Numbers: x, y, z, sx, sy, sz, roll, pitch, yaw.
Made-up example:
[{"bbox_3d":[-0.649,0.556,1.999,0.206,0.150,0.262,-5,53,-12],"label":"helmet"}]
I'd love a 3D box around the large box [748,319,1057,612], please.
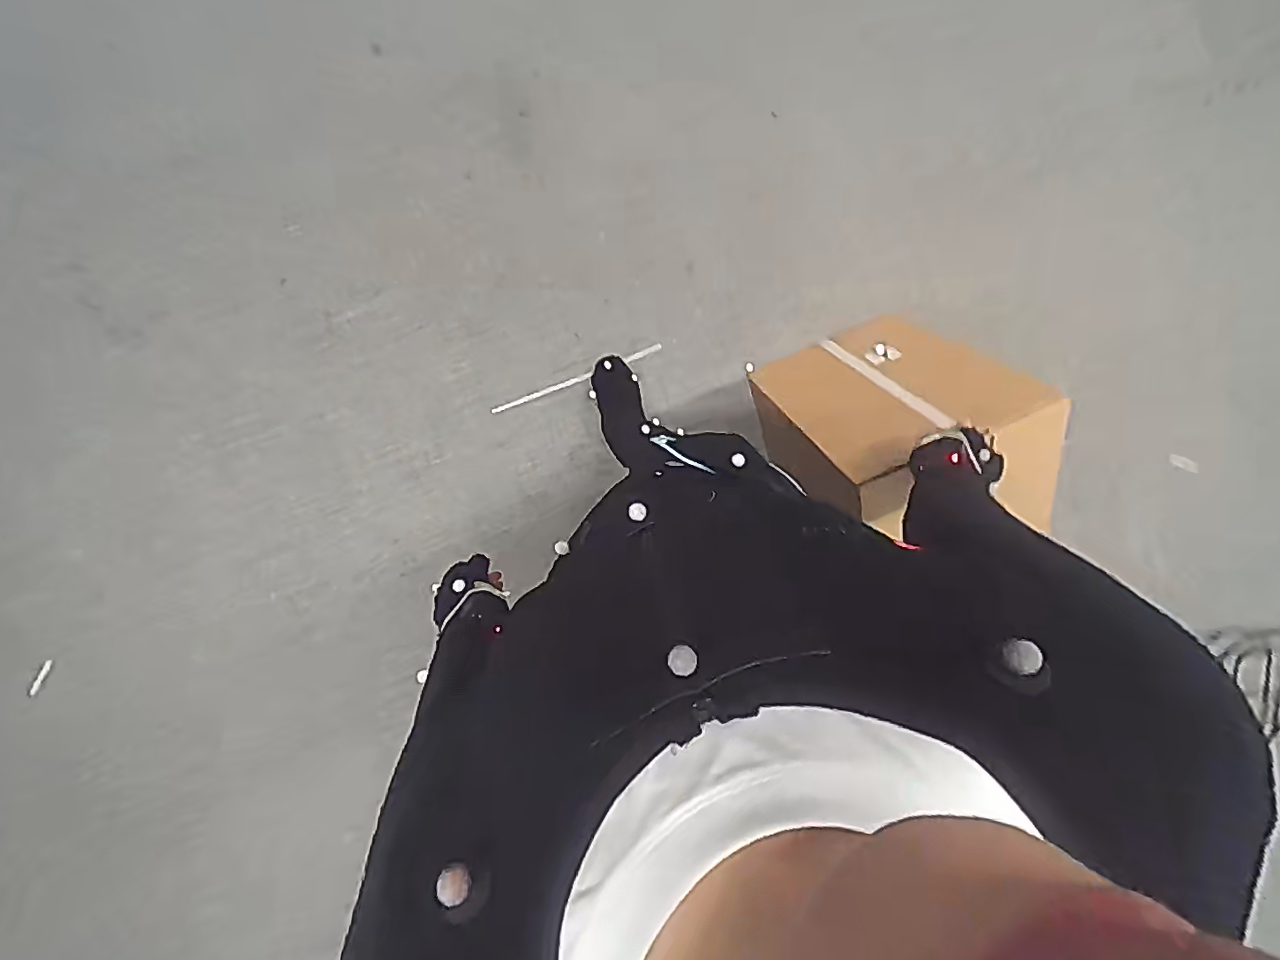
[{"bbox_3d":[0.444,-0.044,0.986,0.320,0.408,0.320,-22,124,0],"label":"large box"}]
